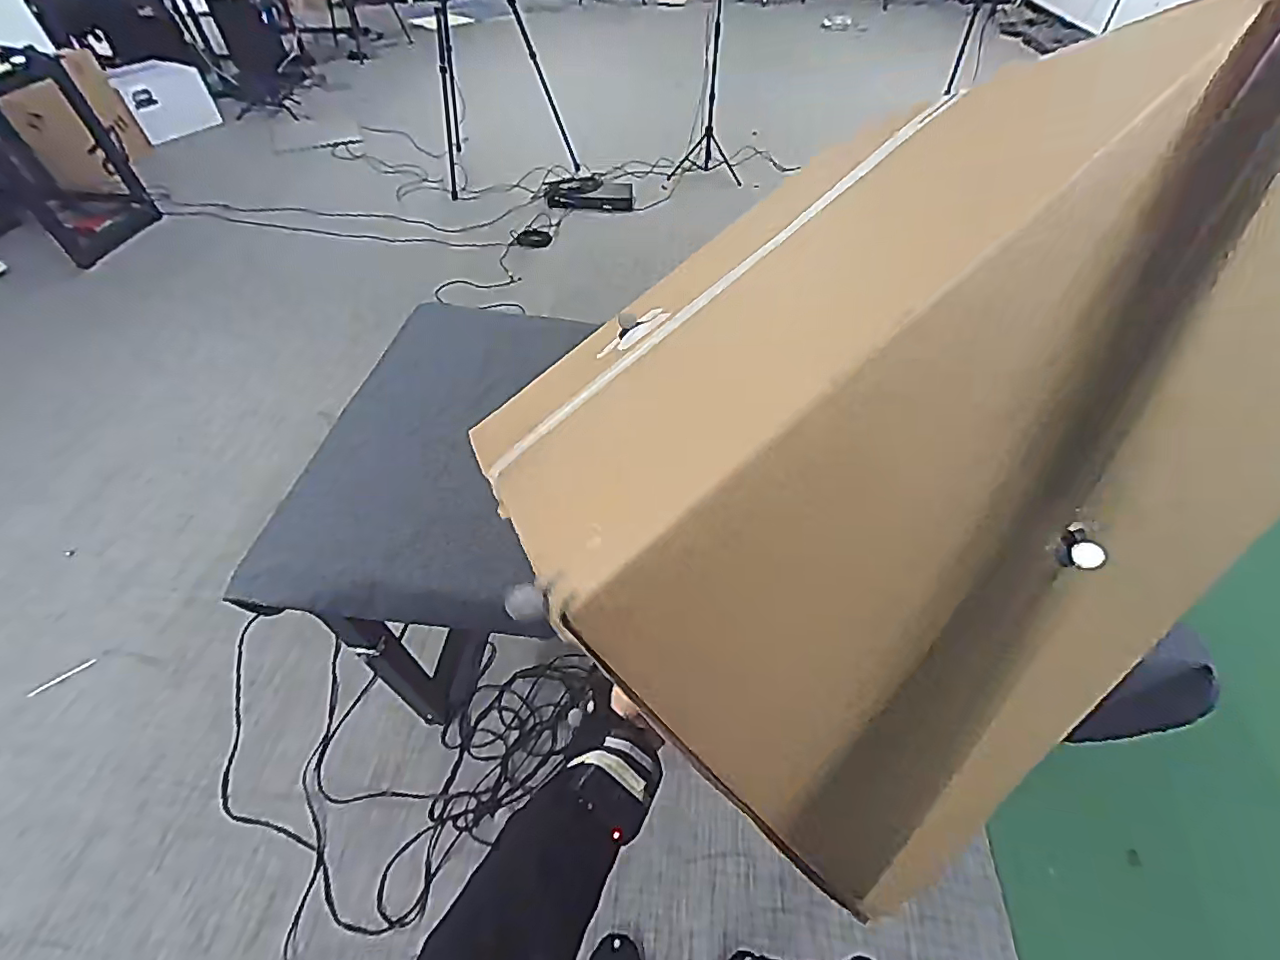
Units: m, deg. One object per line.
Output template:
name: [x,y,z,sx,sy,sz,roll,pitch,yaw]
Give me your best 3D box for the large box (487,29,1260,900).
large box: [0.158,-0.011,0.417,0.408,0.320,0.320,-42,27,-7]
